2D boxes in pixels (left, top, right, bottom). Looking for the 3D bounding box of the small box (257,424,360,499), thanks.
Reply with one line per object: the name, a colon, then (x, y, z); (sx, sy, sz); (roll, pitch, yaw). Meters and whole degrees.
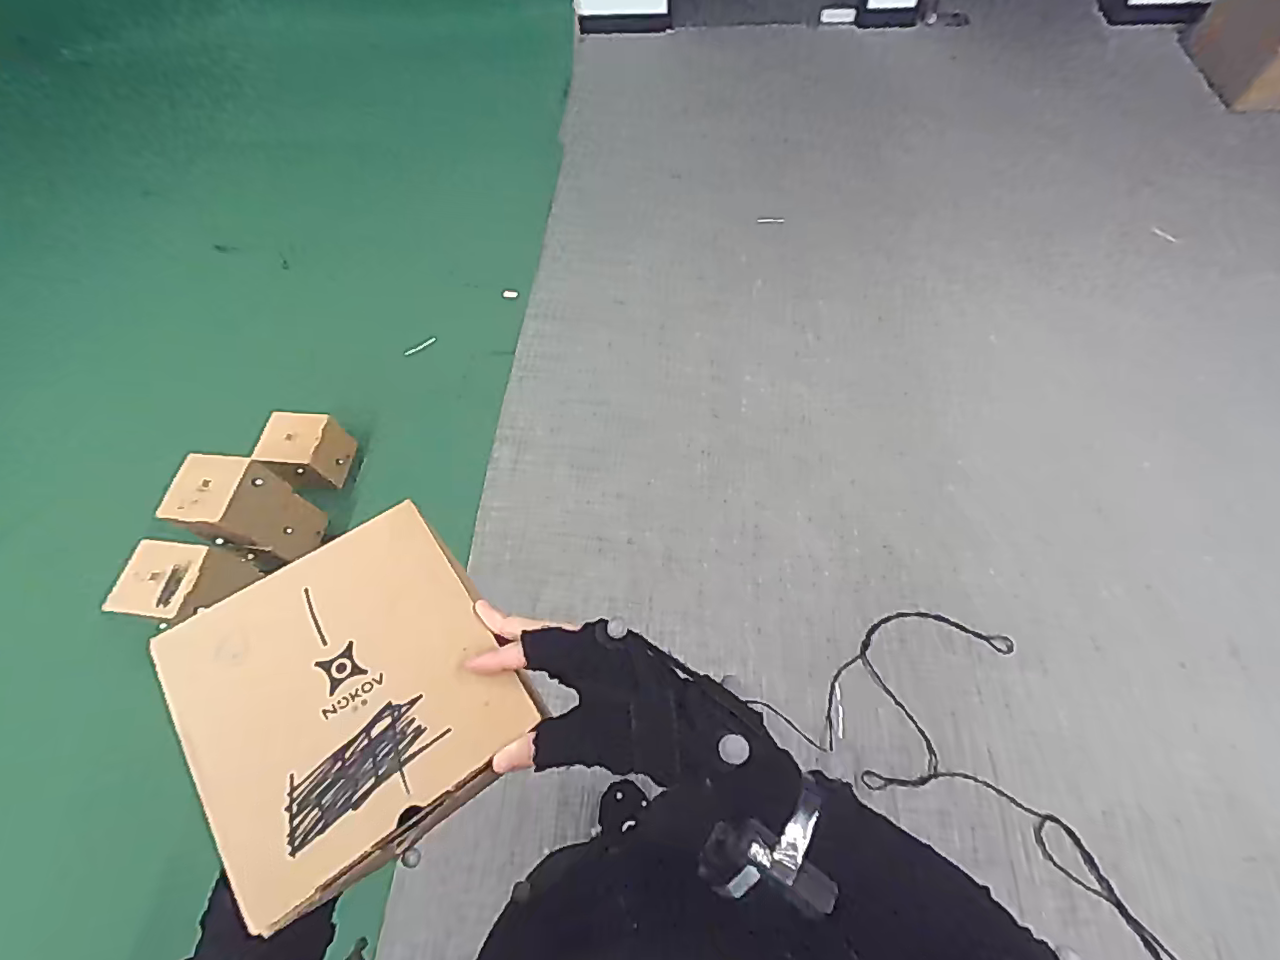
small box: (-0.989, -0.053, 1.627); (0.179, 0.176, 0.168); (3, 62, 4)
